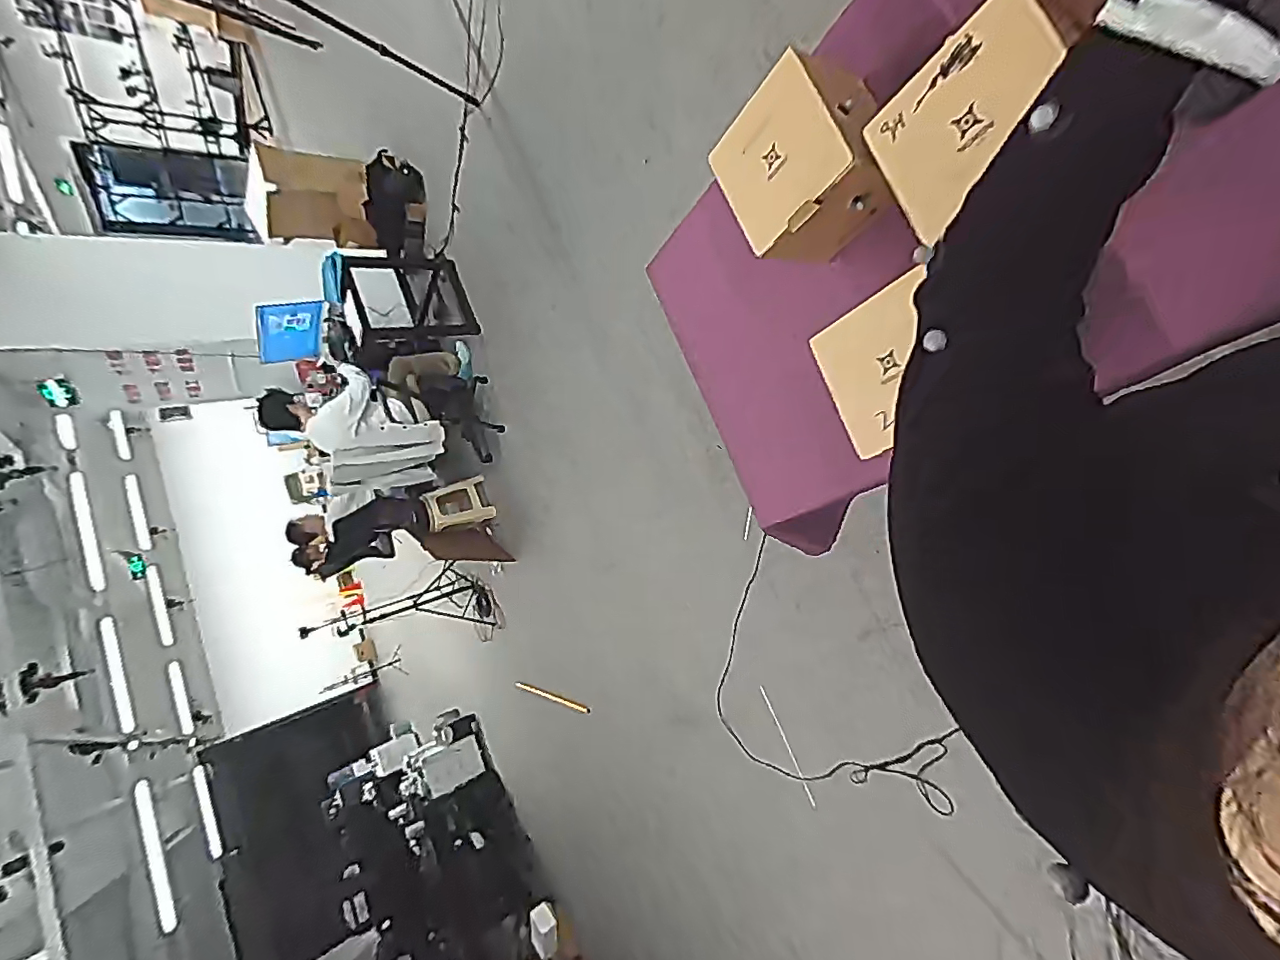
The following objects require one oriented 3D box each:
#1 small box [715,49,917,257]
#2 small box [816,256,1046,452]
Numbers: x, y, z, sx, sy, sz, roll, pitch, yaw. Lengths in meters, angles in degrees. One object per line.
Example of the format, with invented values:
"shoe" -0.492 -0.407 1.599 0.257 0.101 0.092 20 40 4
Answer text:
"small box" 0.242 -0.434 0.745 0.168 0.176 0.179 -35 74 51
"small box" 0.363 -0.153 0.681 0.168 0.176 0.179 -32 76 53
